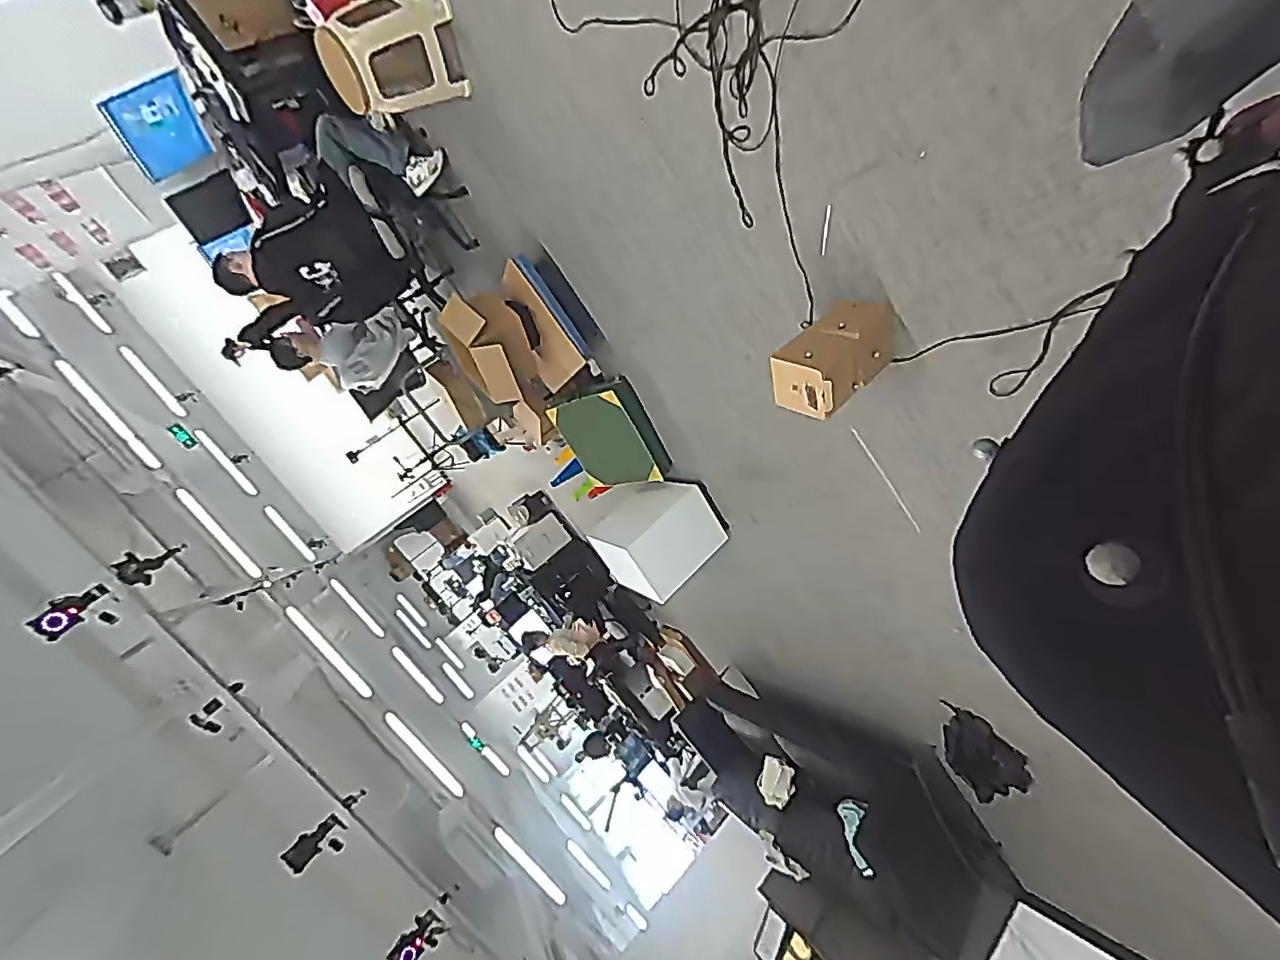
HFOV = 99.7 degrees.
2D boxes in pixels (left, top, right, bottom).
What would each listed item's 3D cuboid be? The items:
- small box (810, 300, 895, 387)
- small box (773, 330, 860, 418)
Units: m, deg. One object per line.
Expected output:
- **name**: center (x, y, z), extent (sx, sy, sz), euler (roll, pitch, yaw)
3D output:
- **small box**: center (0.629, -0.404, 1.588), extent (0.168, 0.176, 0.179), euler (25, 148, 47)
- **small box**: center (0.506, -0.306, 1.537), extent (0.179, 0.176, 0.168), euler (30, 150, 43)
